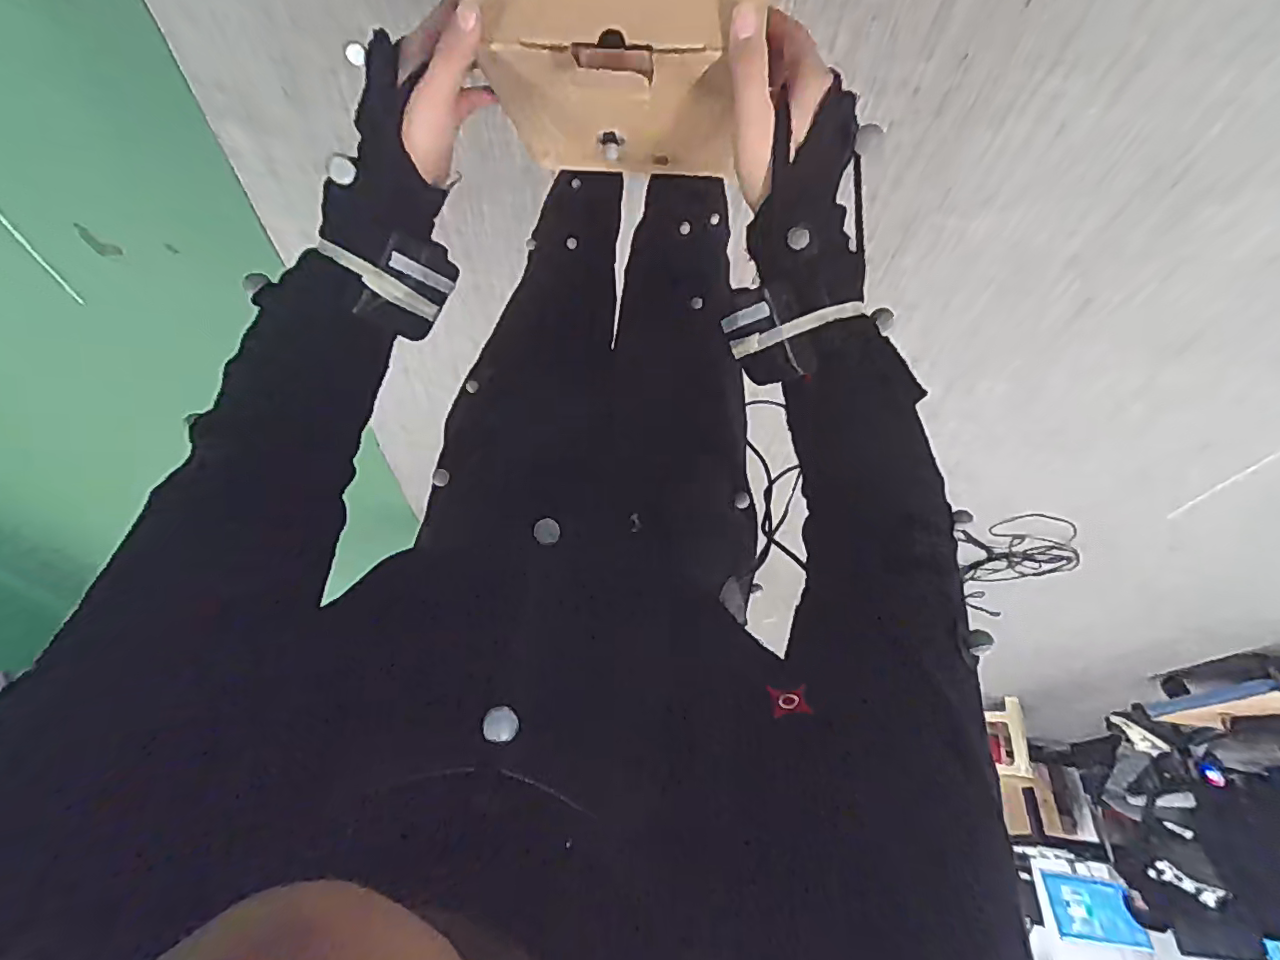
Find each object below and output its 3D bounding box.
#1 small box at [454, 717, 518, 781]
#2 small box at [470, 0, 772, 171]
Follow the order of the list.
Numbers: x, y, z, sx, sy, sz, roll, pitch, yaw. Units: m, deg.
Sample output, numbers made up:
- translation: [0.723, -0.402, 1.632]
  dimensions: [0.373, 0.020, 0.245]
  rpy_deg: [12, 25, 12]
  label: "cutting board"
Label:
- translation: [-0.525, 0.929, 1.867]
  dimensions: [0.168, 0.176, 0.179]
  rpy_deg: [8, 146, -1]
  label: "small box"
- translation: [-0.002, -0.337, 0.360]
  dimensions: [0.168, 0.179, 0.176]
  rpy_deg: [4, -171, 2]
  label: "small box"
